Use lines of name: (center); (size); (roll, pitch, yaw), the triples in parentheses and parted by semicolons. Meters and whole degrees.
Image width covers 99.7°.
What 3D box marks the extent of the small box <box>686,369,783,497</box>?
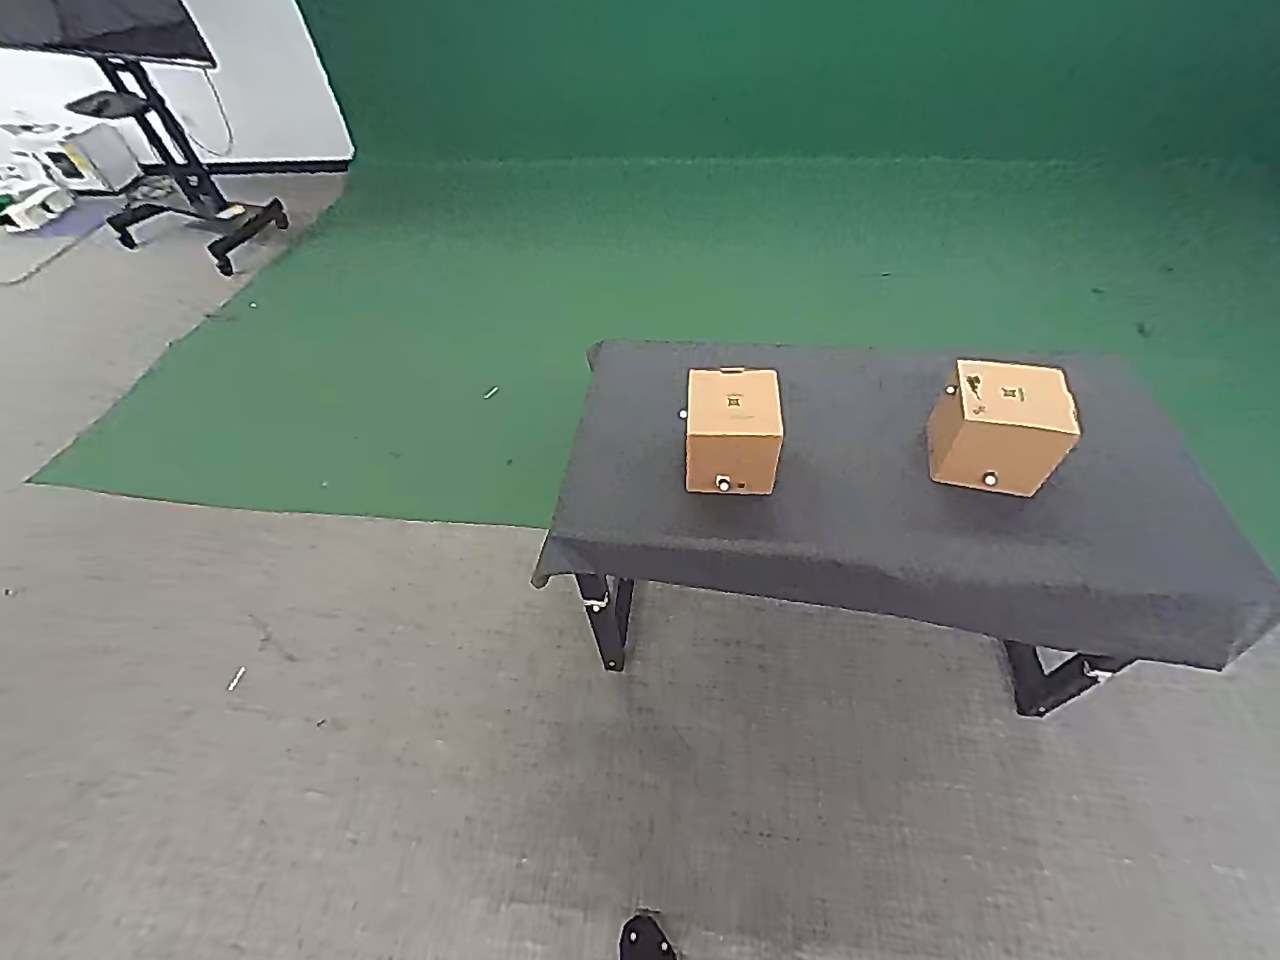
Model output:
small box: (0.176, -0.090, 1.025); (0.168, 0.176, 0.179); (2, 51, 8)

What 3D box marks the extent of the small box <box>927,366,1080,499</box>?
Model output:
small box: (0.658, -0.084, 1.003); (0.179, 0.176, 0.168); (11, 52, 12)
